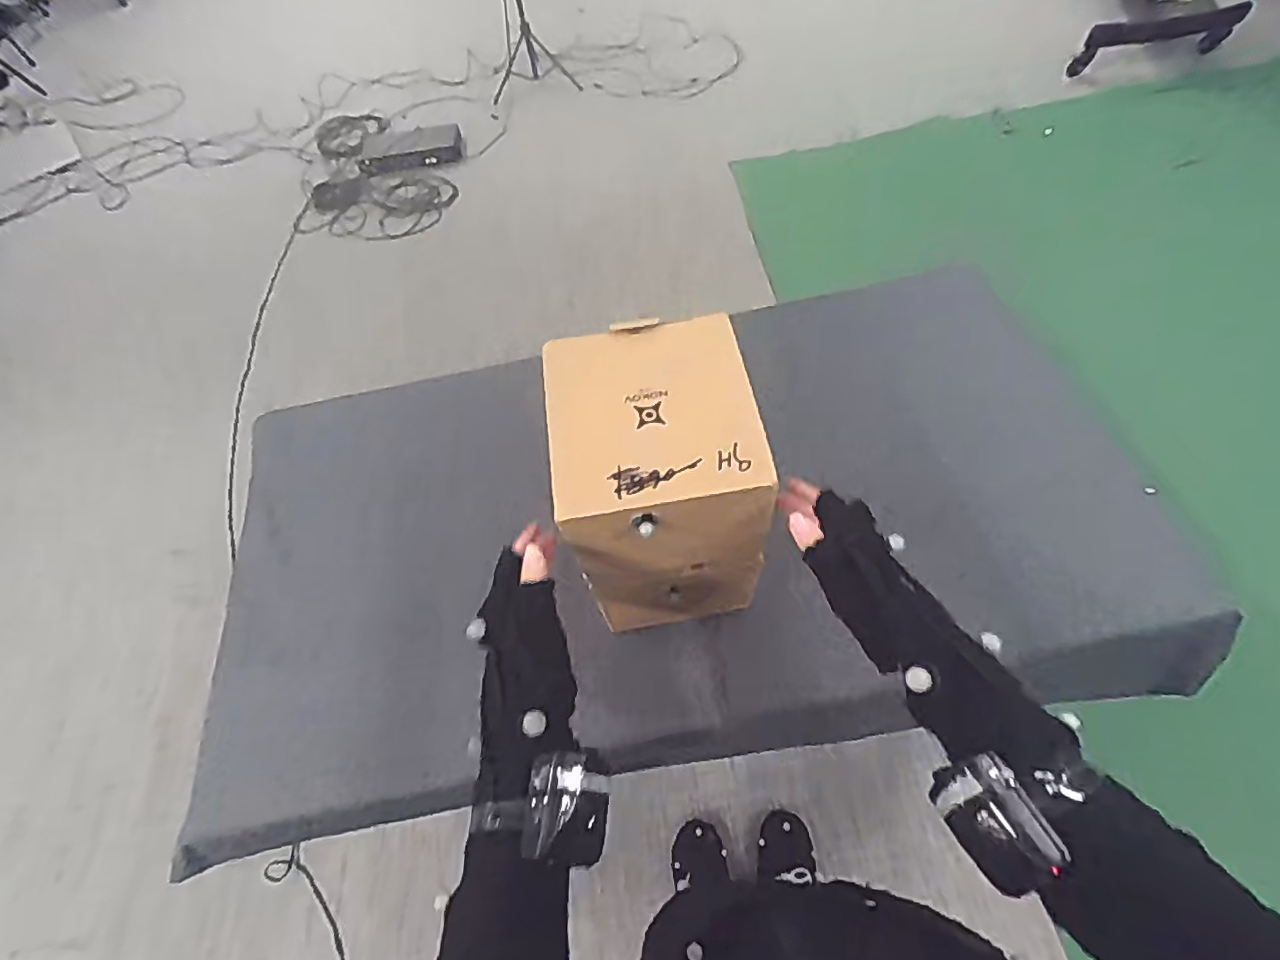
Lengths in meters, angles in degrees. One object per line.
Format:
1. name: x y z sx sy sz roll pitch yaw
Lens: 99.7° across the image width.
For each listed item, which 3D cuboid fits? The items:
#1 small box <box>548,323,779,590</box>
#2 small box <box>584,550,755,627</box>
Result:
1. small box: 0.015 -0.015 0.512 0.168 0.176 0.179 -11 61 -1
2. small box: 0.028 0.067 0.650 0.179 0.176 0.168 -10 60 -1
